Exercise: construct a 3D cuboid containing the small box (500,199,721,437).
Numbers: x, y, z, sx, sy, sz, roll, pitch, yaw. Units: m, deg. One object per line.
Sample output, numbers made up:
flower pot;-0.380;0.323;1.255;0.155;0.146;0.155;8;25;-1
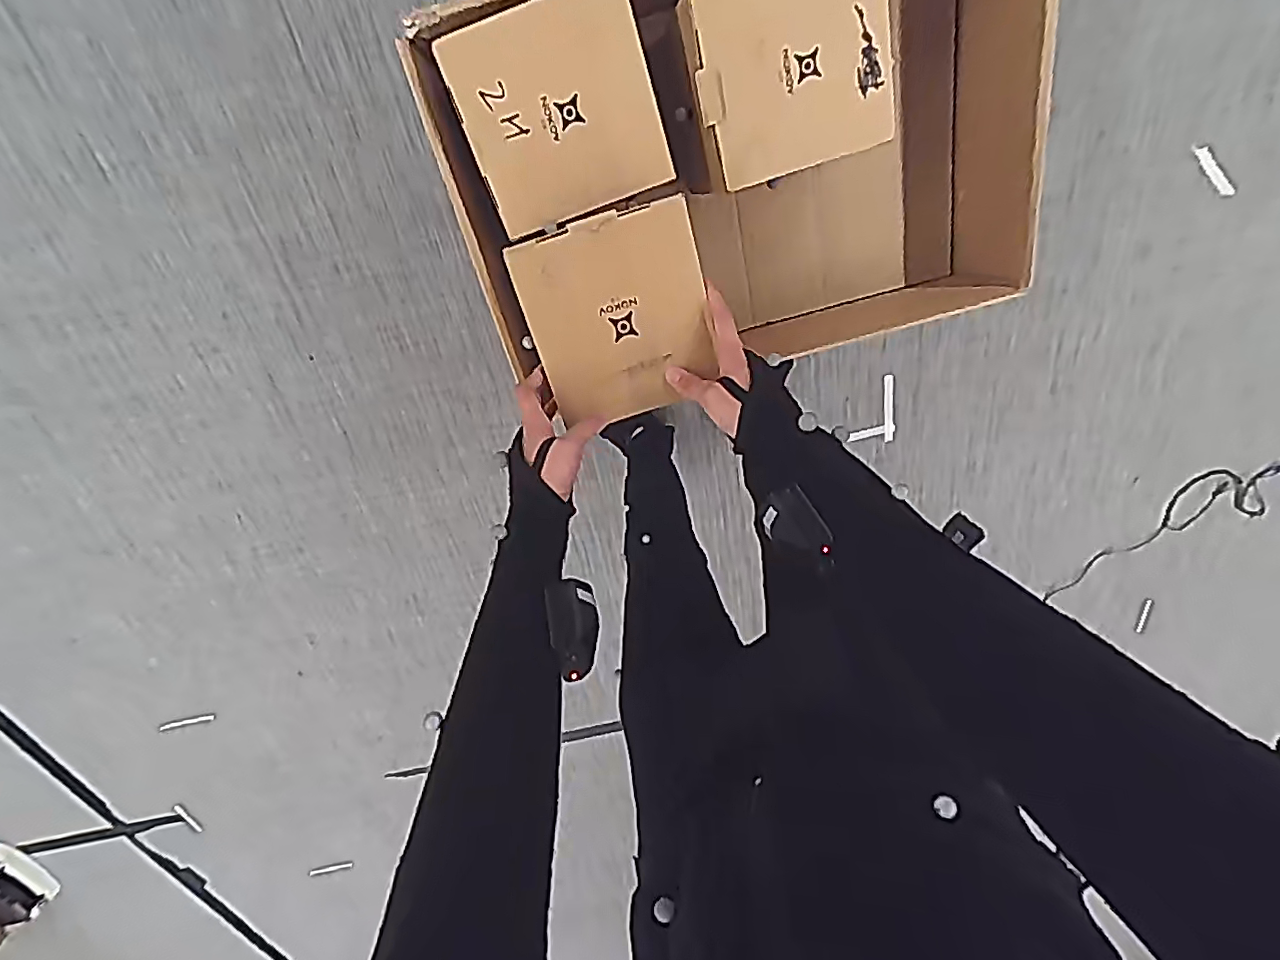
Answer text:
small box;-0.032;-0.167;0.565;0.168;0.176;0.179;-18;112;0
